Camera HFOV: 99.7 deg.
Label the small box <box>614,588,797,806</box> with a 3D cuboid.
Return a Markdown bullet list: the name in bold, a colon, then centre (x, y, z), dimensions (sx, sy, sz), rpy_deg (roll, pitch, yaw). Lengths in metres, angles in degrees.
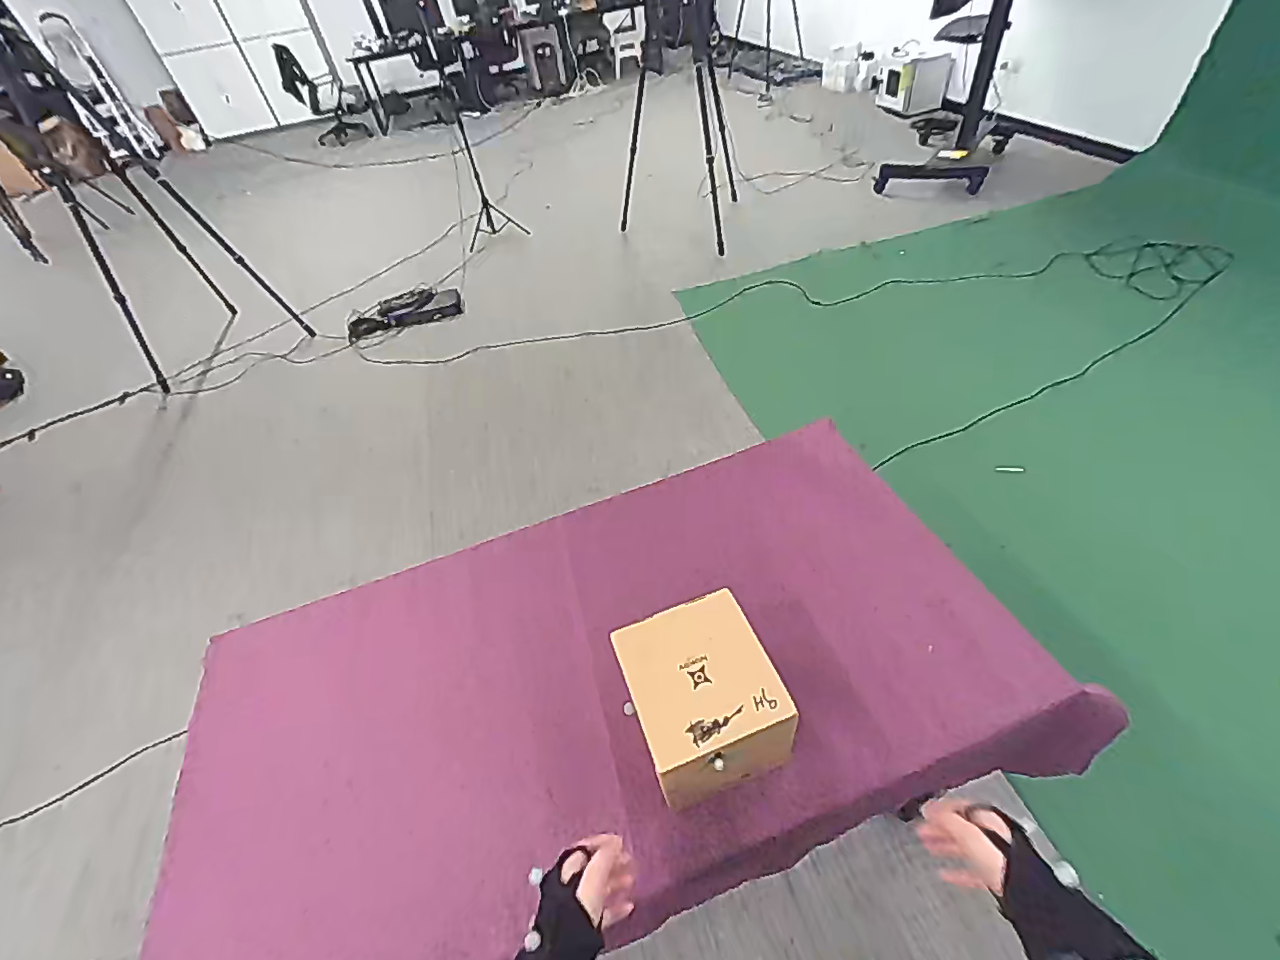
- **small box**: centre (0.079, 0.275, 0.688), dimensions (0.168, 0.176, 0.179), rpy_deg (-20, 46, -7)
